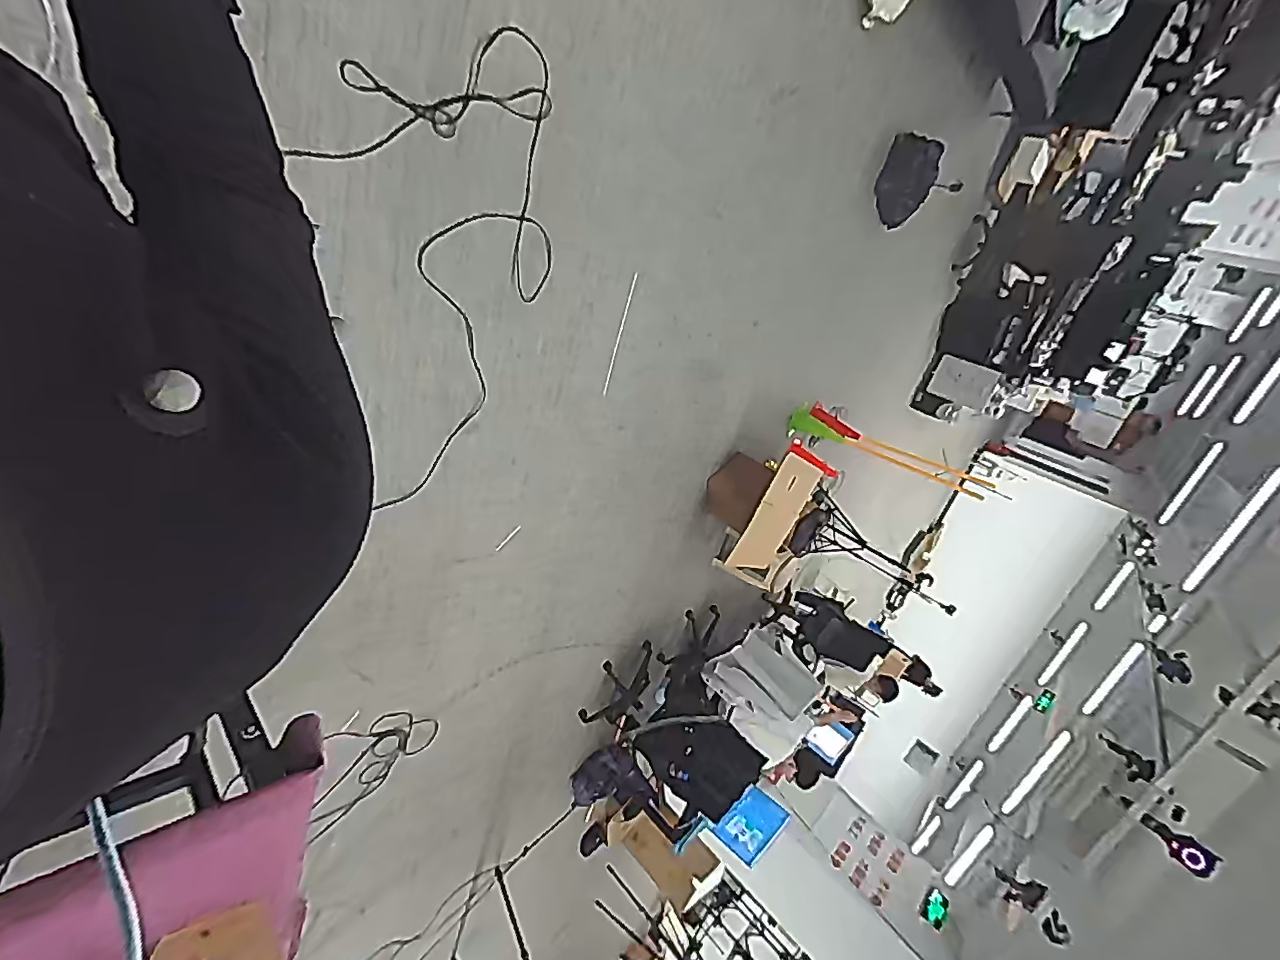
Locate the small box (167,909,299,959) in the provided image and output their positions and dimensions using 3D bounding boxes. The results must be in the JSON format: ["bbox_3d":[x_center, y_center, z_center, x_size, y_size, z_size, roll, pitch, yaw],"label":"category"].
[{"bbox_3d":[-0.758,0.932,0.978,0.168,0.176,0.179,23,99,-56],"label":"small box"}]
